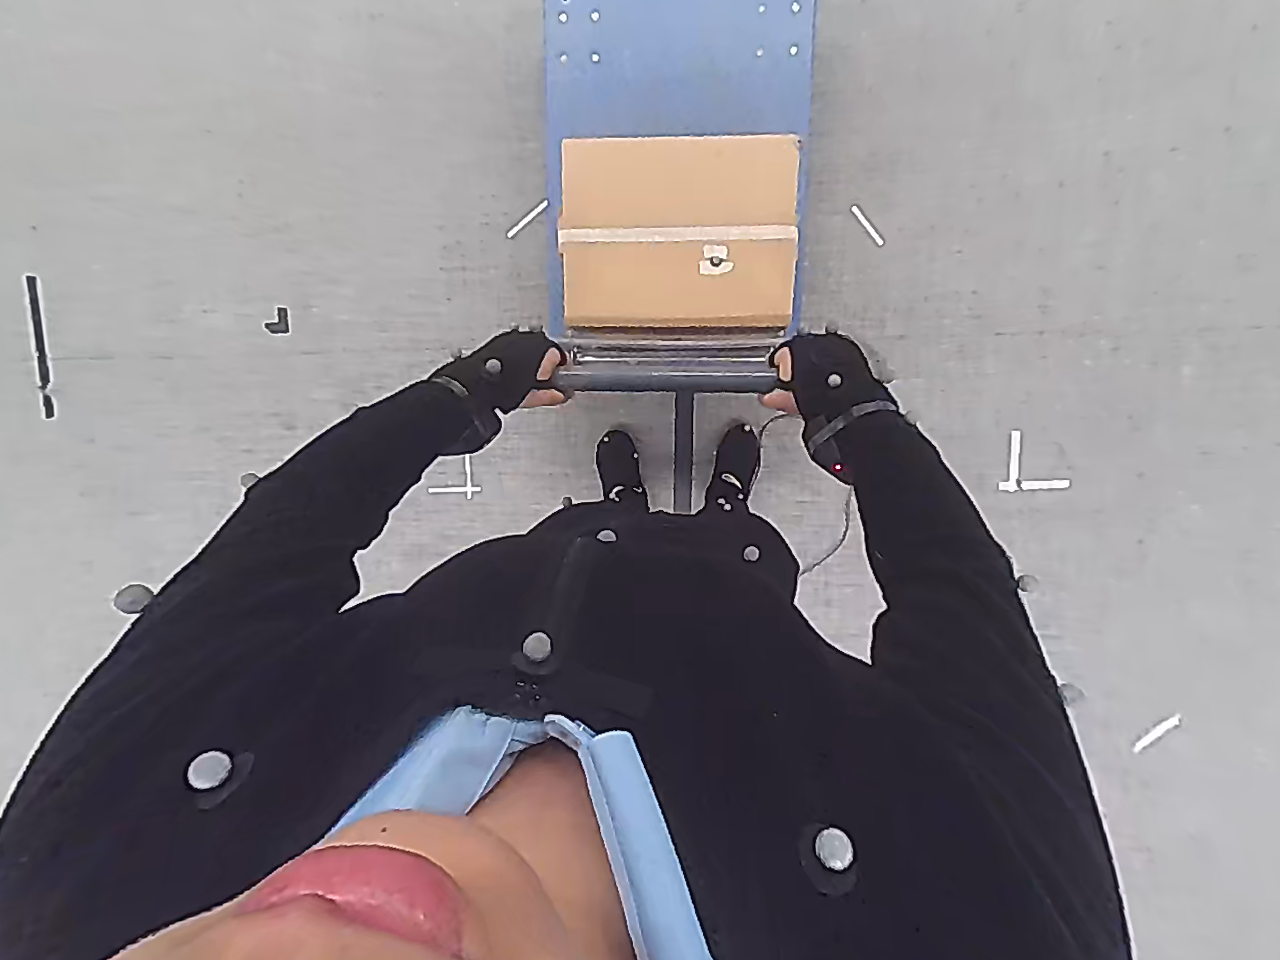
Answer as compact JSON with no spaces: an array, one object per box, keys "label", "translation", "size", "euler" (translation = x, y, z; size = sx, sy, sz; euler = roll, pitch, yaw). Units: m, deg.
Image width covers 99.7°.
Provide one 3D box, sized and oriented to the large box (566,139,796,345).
[{"label":"large box","translation":[0.076,-0.450,1.099],"size":[0.408,0.320,0.320],"euler":[0,100,3]}]
